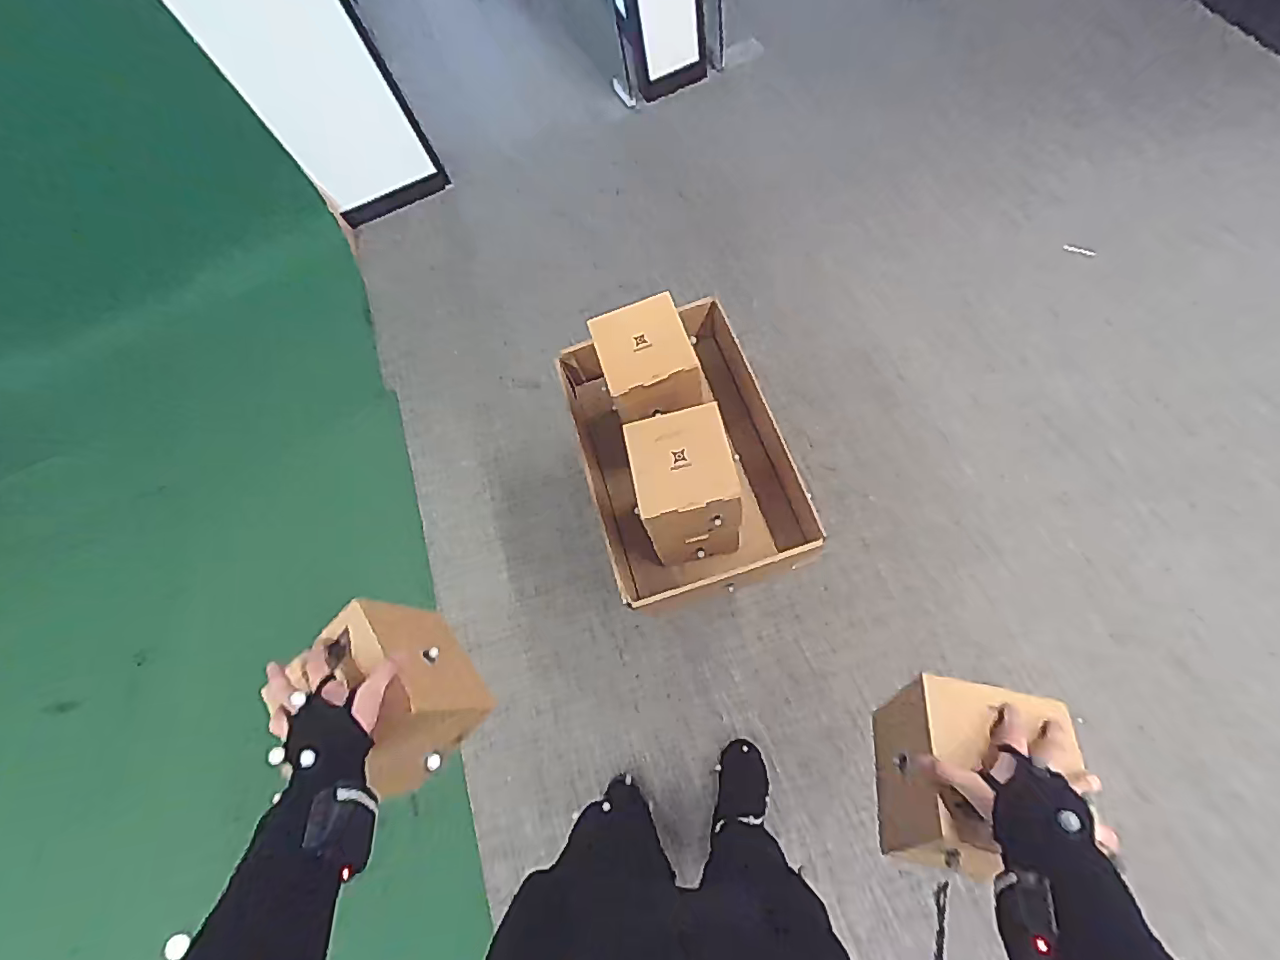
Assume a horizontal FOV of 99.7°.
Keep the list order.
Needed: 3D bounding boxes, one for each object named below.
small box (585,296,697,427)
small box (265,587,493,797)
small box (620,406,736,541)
[{"bbox_3d":[0.007,-0.217,1.056,0.168,0.176,0.179,-20,69,1],"label":"small box"},{"bbox_3d":[-0.331,0.269,0.707,0.168,0.176,0.179,-45,64,-1],"label":"small box"},{"bbox_3d":[0.071,-0.001,0.954,0.168,0.176,0.179,-13,66,4],"label":"small box"}]
